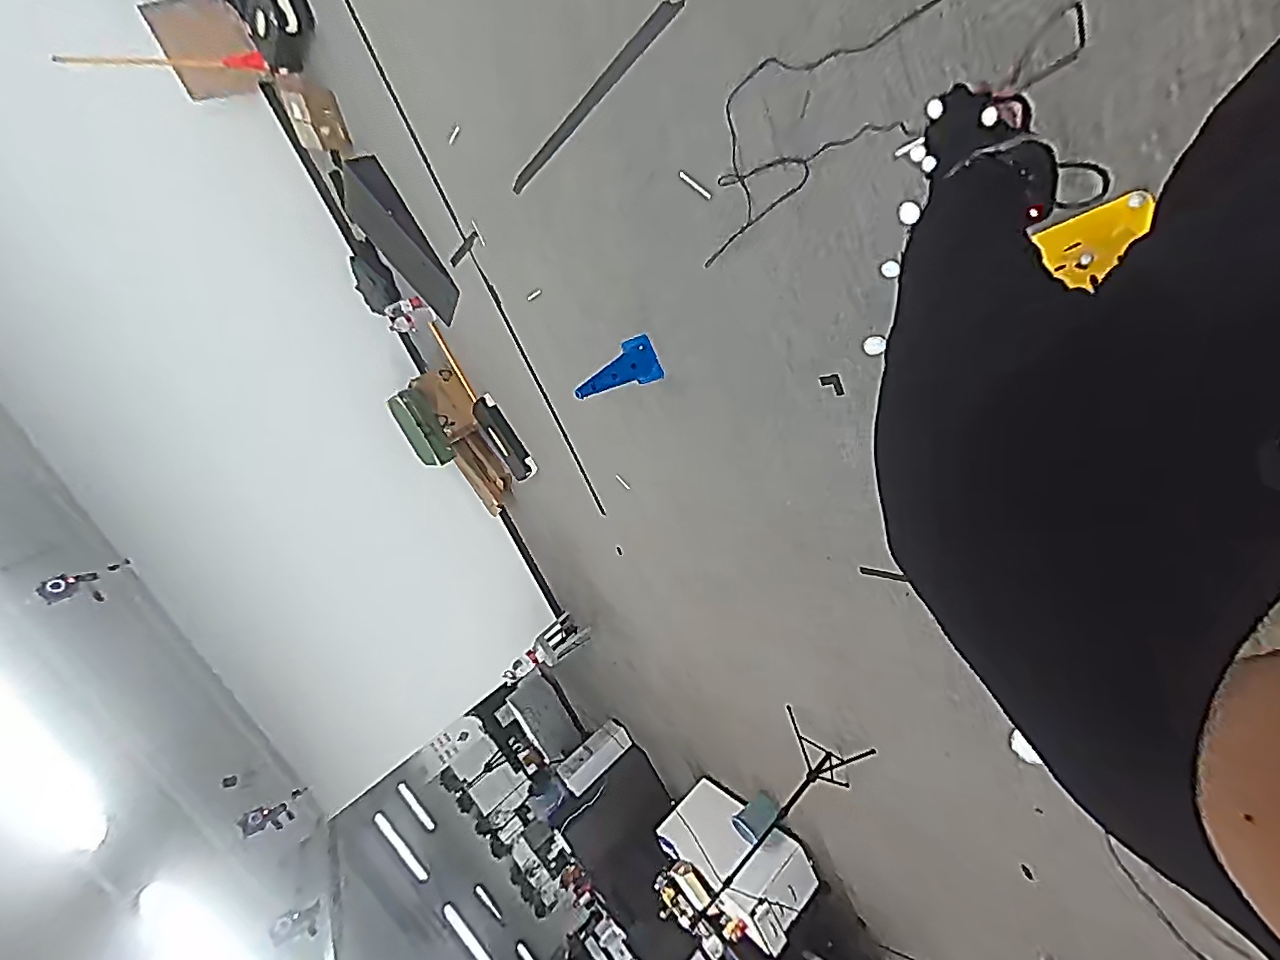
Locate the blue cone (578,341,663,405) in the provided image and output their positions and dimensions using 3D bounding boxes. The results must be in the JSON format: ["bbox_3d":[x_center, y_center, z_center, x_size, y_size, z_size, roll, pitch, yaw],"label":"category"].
[{"bbox_3d":[-0.106,-0.416,2.243,0.193,0.380,0.192,2,122,57],"label":"blue cone"}]
